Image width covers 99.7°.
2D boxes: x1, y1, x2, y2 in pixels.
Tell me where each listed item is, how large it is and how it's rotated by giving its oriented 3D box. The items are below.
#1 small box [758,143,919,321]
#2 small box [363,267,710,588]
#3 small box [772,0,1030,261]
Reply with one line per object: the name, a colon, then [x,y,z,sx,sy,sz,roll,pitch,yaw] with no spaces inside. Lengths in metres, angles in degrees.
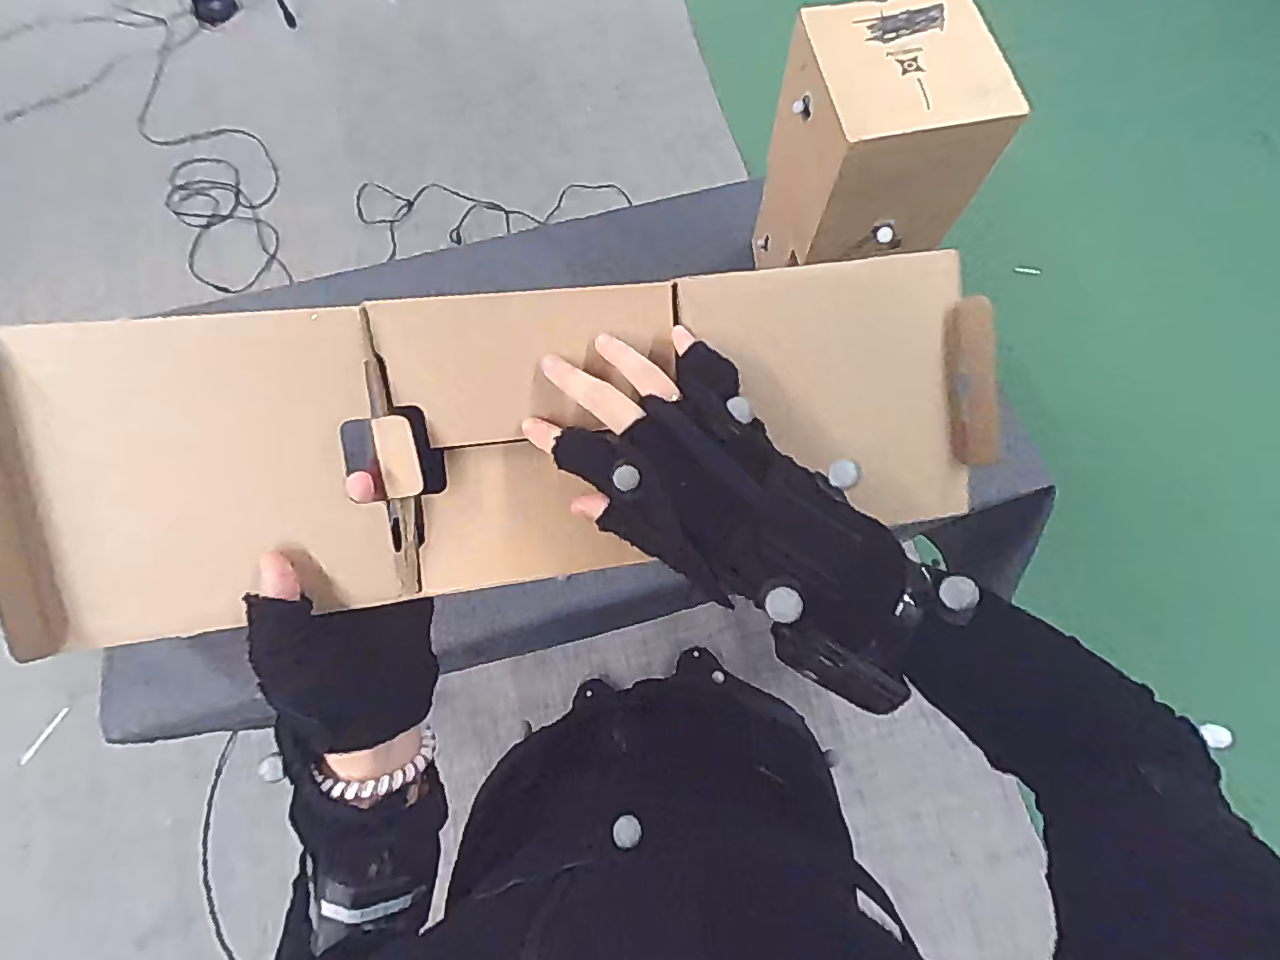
small box: [0.261,-0.333,0.732,0.179,0.176,0.168,-3,72,1]
small box: [-0.064,-0.037,0.382,0.179,0.176,0.168,-9,98,-9]
small box: [0.249,-0.365,0.570,0.168,0.176,0.179,-10,73,0]
